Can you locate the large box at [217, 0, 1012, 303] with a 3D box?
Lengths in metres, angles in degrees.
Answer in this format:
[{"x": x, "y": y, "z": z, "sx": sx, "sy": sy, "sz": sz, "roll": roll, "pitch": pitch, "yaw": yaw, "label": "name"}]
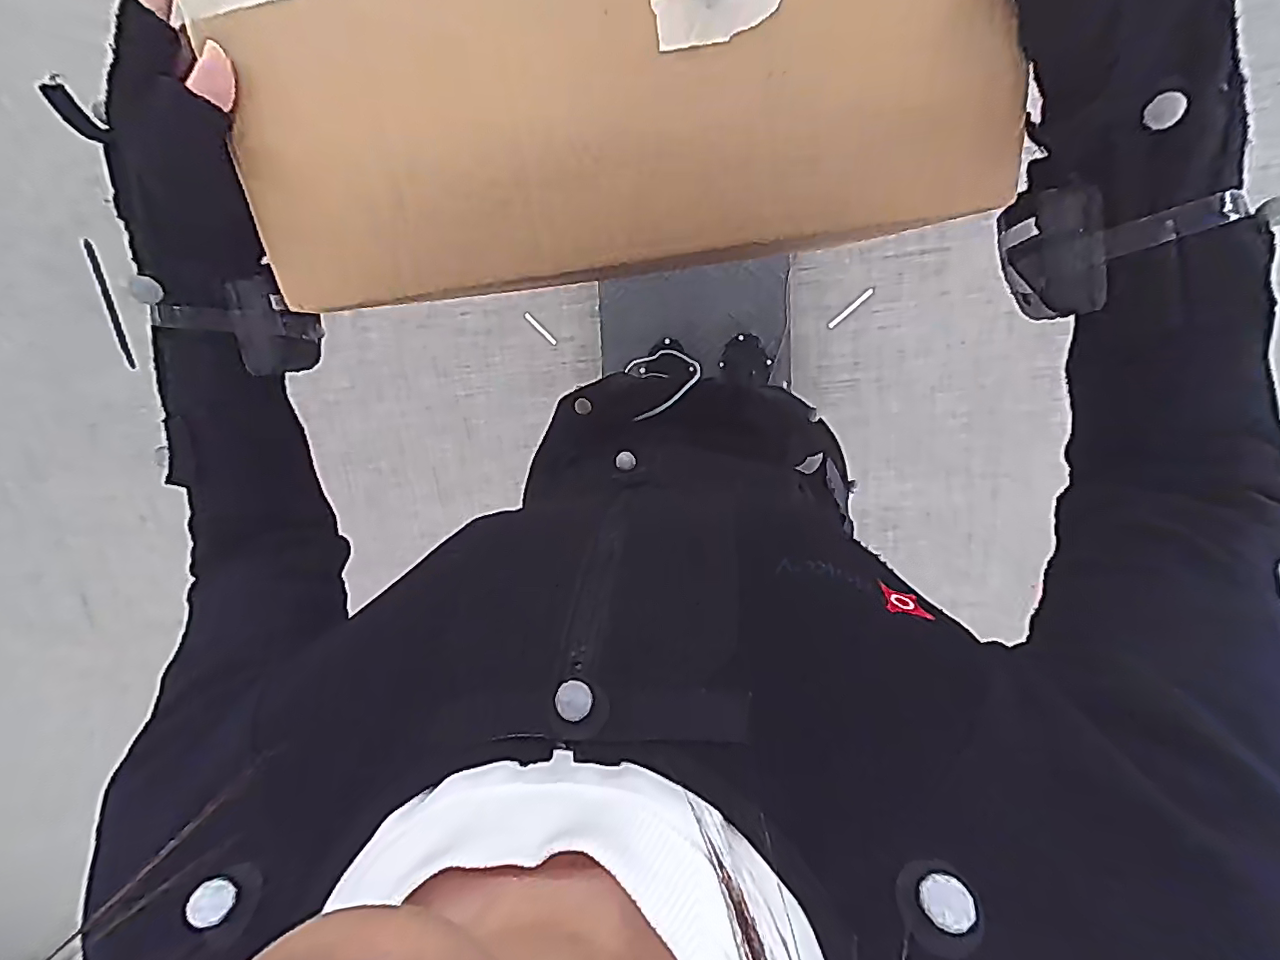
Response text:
[{"x": -0.016, "y": -0.325, "z": 0.395, "sx": 0.408, "sy": 0.320, "sz": 0.320, "roll": -5, "pitch": 111, "yaw": 9, "label": "large box"}]
